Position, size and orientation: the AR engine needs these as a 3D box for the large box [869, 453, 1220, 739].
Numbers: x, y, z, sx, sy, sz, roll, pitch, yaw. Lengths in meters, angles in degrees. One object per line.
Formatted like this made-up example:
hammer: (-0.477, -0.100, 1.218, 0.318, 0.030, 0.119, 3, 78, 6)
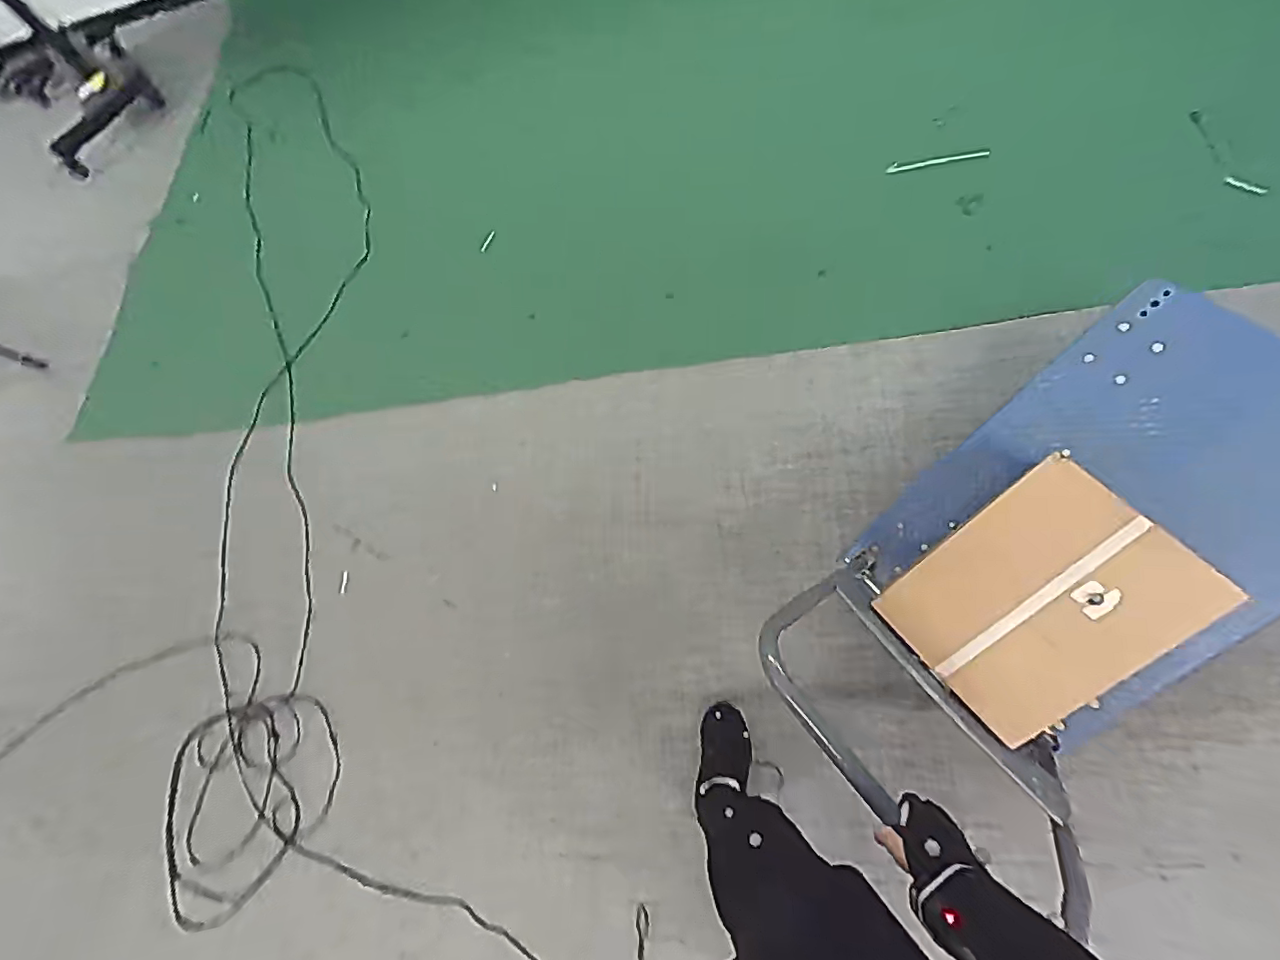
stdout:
large box: (0.725, 0.211, 1.048, 0.408, 0.320, 0.320, -48, 65, 18)
